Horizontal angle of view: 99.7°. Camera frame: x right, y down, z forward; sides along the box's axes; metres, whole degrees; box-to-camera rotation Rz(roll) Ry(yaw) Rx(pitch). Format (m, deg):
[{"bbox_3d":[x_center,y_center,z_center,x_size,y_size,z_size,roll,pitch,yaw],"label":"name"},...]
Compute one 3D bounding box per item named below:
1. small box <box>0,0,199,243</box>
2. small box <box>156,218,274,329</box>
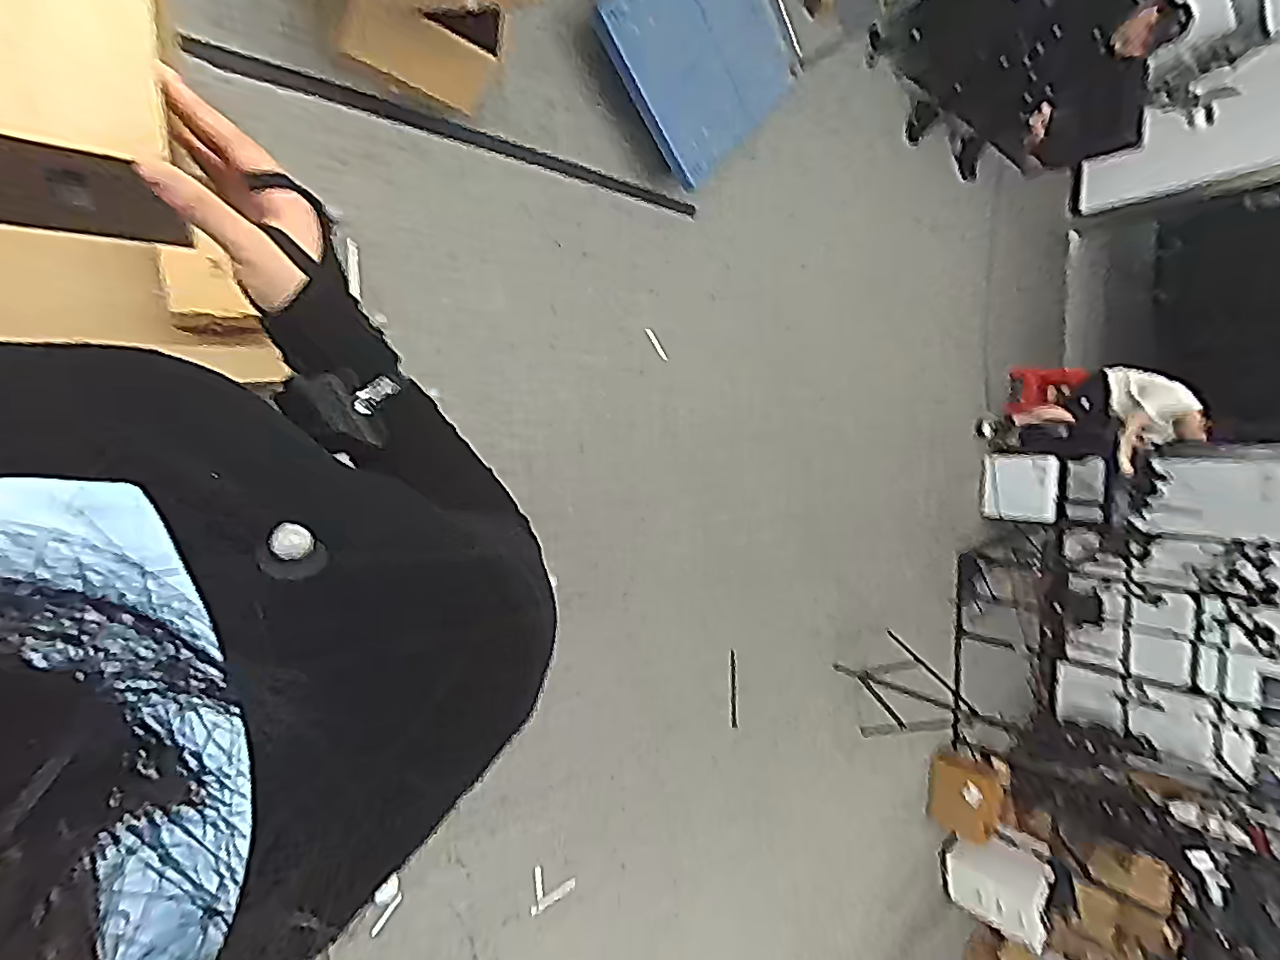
[{"bbox_3d":[-0.369,-0.249,0.306,0.179,0.176,0.168,-4,97,-34],"label":"small box"},{"bbox_3d":[-0.856,-0.409,1.089,0.168,0.176,0.179,-11,100,-38],"label":"small box"}]
